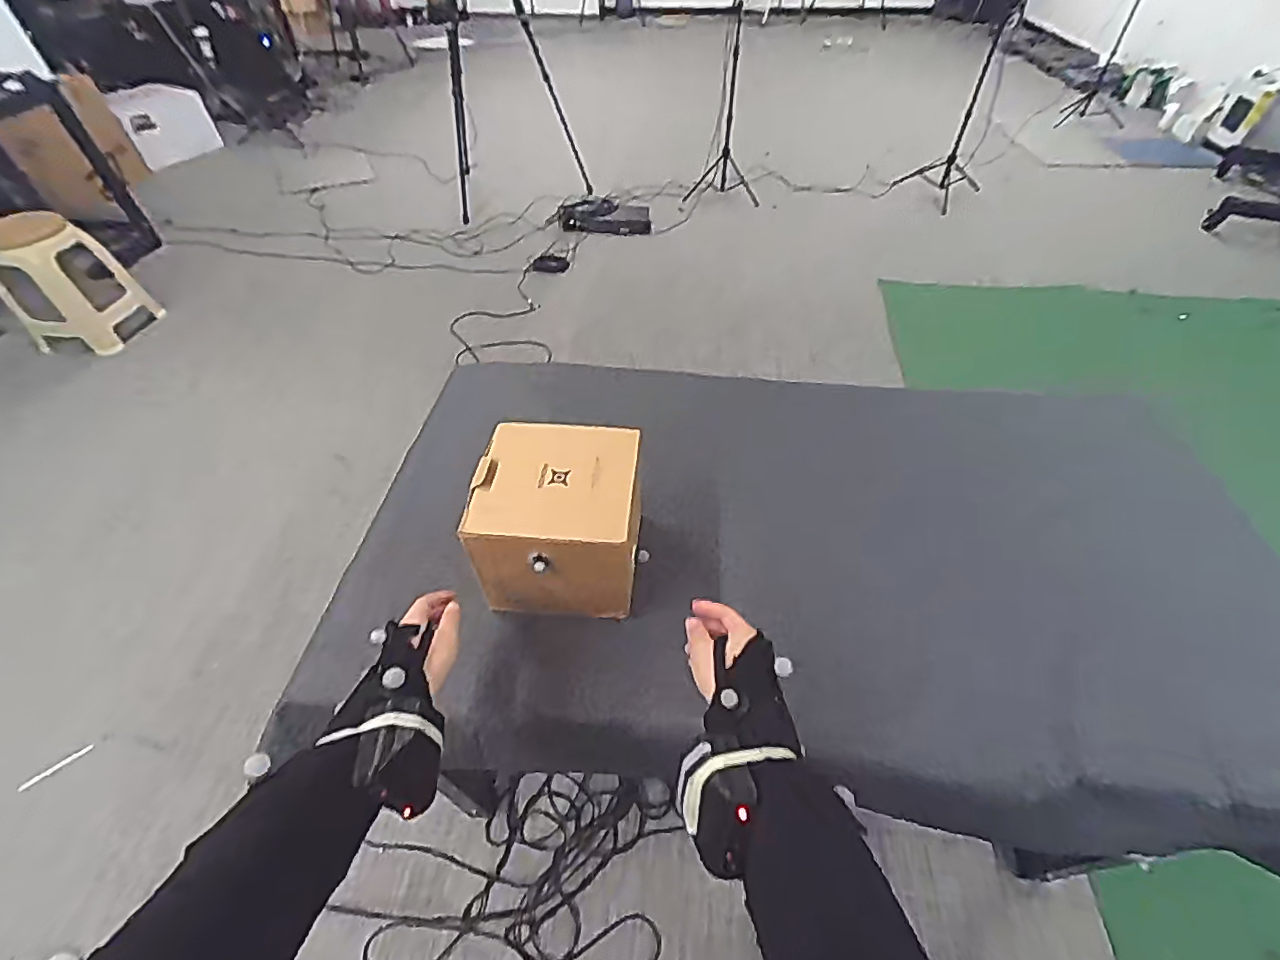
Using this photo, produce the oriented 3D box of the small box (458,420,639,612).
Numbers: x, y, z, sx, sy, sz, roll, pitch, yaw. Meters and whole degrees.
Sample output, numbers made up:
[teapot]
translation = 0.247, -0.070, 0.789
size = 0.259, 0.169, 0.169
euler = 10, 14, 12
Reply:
[small box]
translation = -0.094, 0.047, 0.658
size = 0.179, 0.176, 0.168
euler = 4, 50, 2
